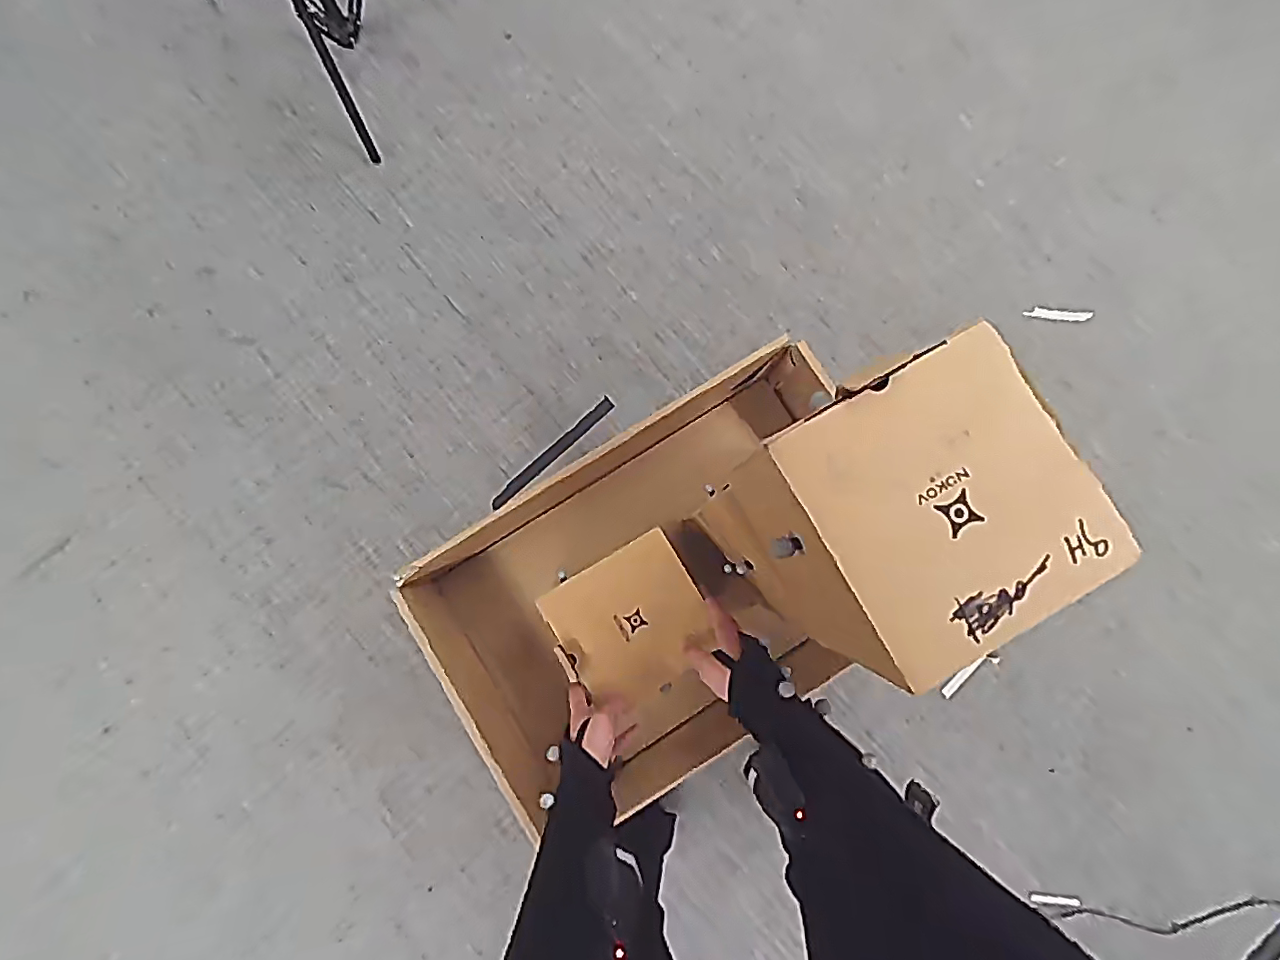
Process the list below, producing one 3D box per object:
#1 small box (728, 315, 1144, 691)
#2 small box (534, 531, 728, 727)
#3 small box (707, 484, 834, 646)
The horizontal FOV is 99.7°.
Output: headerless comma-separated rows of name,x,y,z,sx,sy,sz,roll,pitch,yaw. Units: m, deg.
small box,0.182,0.019,0.398,0.168,0.176,0.179,-30,84,-2
small box,-0.012,0.178,0.706,0.179,0.176,0.168,-31,84,-3
small box,0.183,0.042,0.561,0.179,0.176,0.168,-36,85,-4
